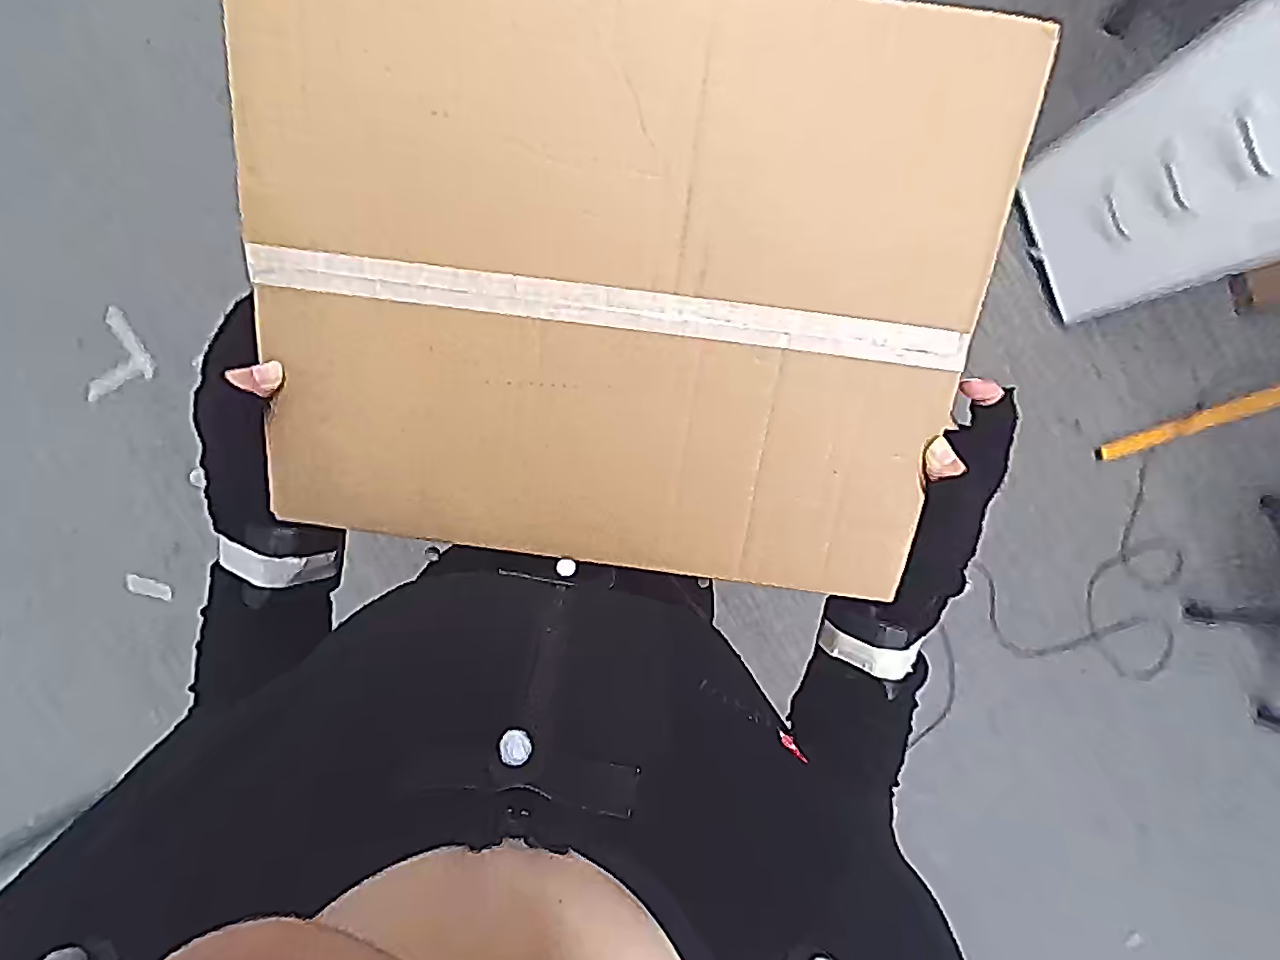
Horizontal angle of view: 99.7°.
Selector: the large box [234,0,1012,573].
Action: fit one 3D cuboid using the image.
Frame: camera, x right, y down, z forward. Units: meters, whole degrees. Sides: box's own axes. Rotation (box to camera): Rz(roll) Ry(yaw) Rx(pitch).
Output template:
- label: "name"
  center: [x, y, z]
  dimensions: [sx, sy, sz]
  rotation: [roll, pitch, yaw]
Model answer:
- label: "large box"
  center: [-0.019, -0.143, 0.456]
  dimensions: [0.408, 0.320, 0.320]
  rotation: [6, 108, 0]
